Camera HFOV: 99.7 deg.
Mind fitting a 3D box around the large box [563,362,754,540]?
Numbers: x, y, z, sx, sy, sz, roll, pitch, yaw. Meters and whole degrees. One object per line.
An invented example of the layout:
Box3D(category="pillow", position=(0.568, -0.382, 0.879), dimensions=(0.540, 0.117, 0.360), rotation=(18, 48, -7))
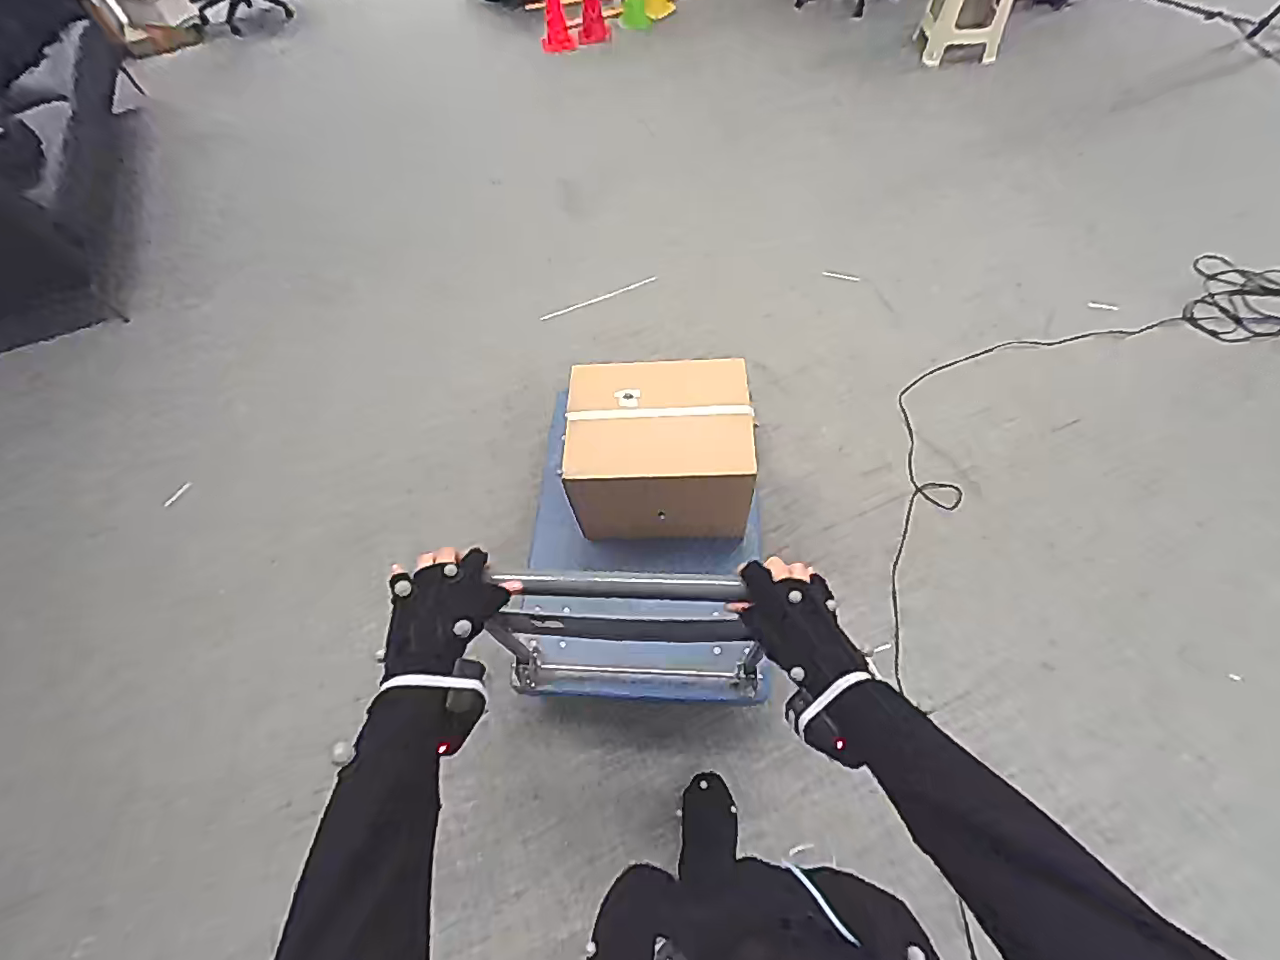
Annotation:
Box3D(category="large box", position=(0.052, -0.057, 1.314), dimensions=(0.408, 0.320, 0.320), rotation=(-2, 59, 6))
